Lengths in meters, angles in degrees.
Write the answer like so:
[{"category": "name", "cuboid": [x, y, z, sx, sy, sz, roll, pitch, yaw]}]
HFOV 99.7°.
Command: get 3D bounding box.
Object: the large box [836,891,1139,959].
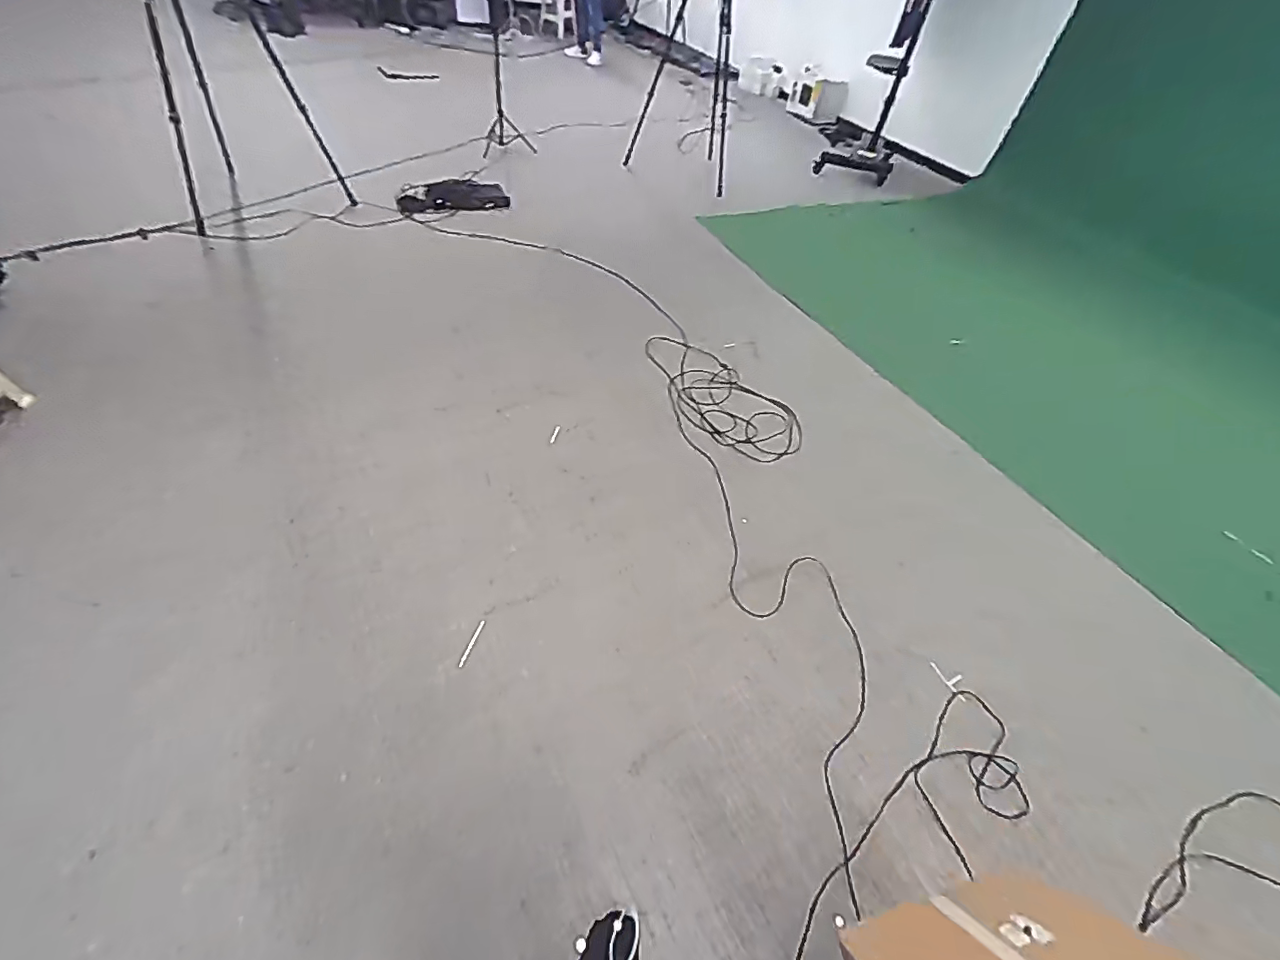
[{"category": "large box", "cuboid": [0.477, 0.733, 0.570, 0.320, 0.408, 0.320, -11, 74, -7]}]
